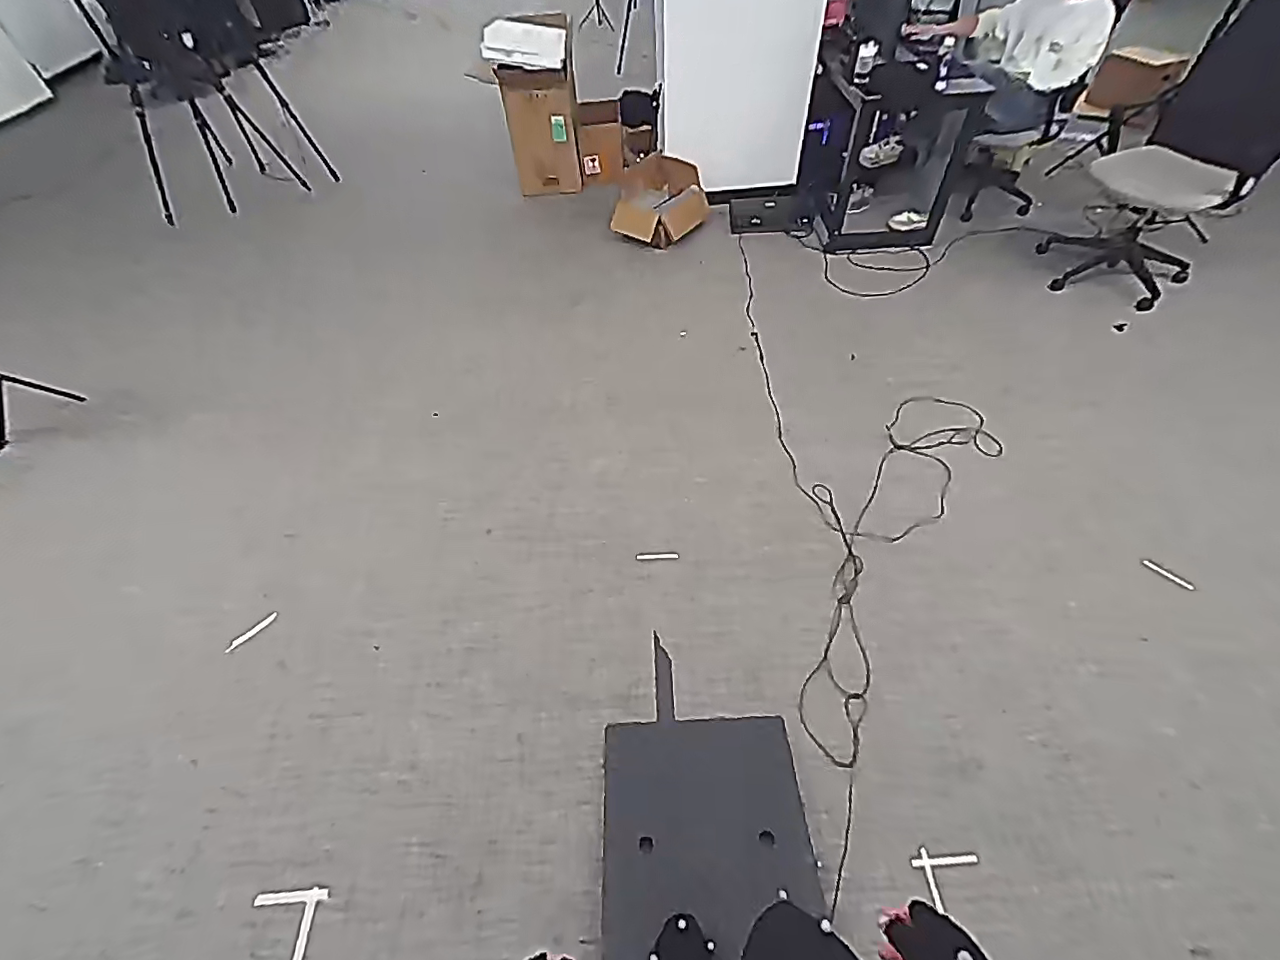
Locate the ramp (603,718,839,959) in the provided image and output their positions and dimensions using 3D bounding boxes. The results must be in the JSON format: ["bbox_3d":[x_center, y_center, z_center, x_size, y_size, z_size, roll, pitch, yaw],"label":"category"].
[{"bbox_3d":[0.163,1.000,1.117,0.509,0.206,0.991,-6,51,1],"label":"ramp"}]
